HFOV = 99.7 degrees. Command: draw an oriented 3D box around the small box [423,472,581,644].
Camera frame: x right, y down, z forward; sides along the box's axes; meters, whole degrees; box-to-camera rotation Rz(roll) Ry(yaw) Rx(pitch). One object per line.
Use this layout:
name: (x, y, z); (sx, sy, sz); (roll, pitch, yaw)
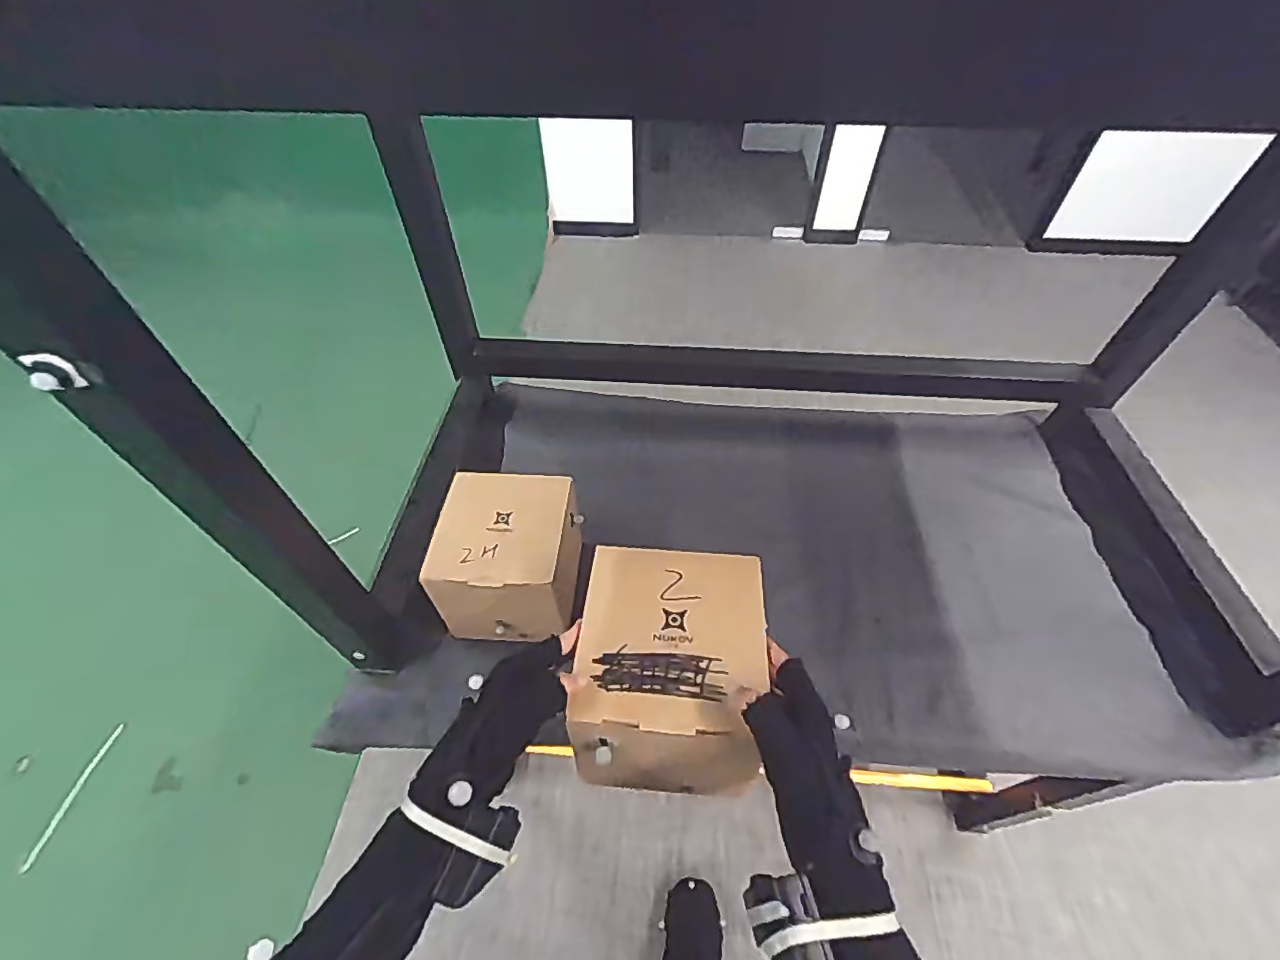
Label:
small box: (-0.179, 0.110, 0.764); (0.168, 0.176, 0.179); (2, 50, 2)
